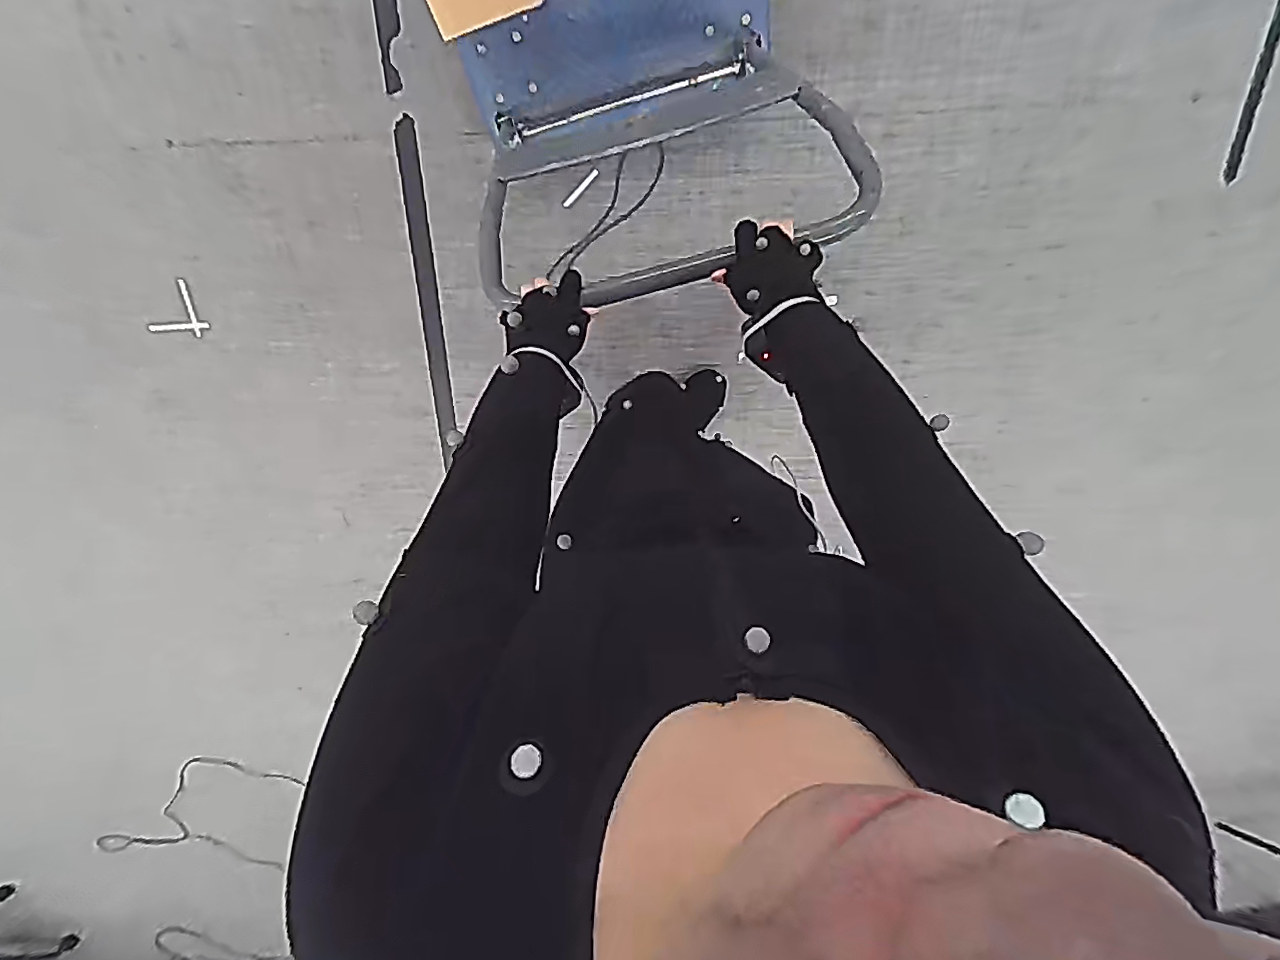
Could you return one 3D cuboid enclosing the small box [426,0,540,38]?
[{"bbox_3d":[-0.263,-0.837,0.857,0.179,0.176,0.168,-16,134,8],"label":"small box"}]
